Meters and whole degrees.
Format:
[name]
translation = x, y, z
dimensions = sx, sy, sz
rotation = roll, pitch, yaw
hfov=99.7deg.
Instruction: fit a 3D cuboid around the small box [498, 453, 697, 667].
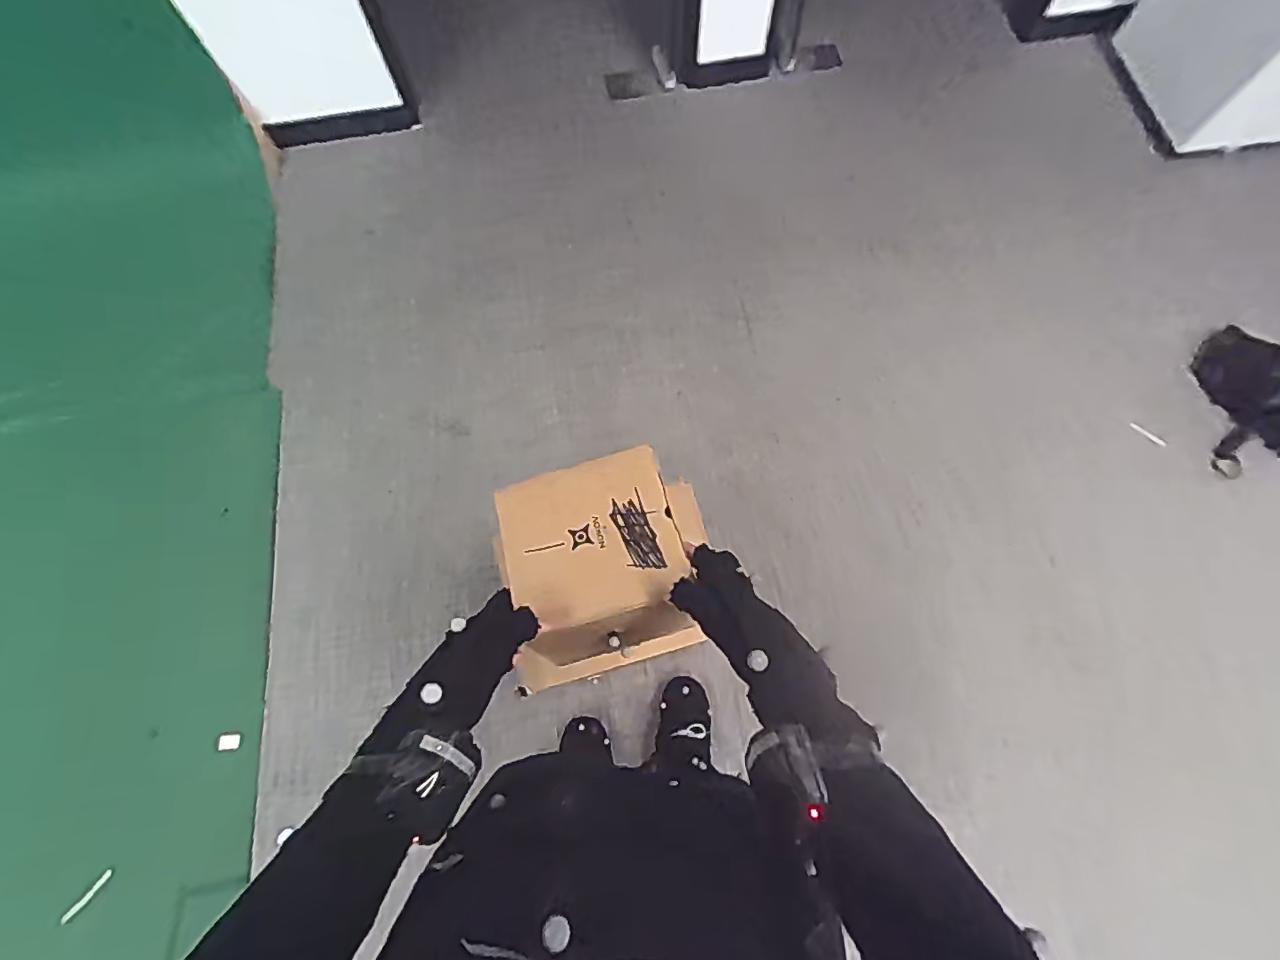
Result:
[small box]
translation = -0.042, 0.099, 0.617
dimensions = 0.179, 0.176, 0.168
rotation = -17, 61, -2
